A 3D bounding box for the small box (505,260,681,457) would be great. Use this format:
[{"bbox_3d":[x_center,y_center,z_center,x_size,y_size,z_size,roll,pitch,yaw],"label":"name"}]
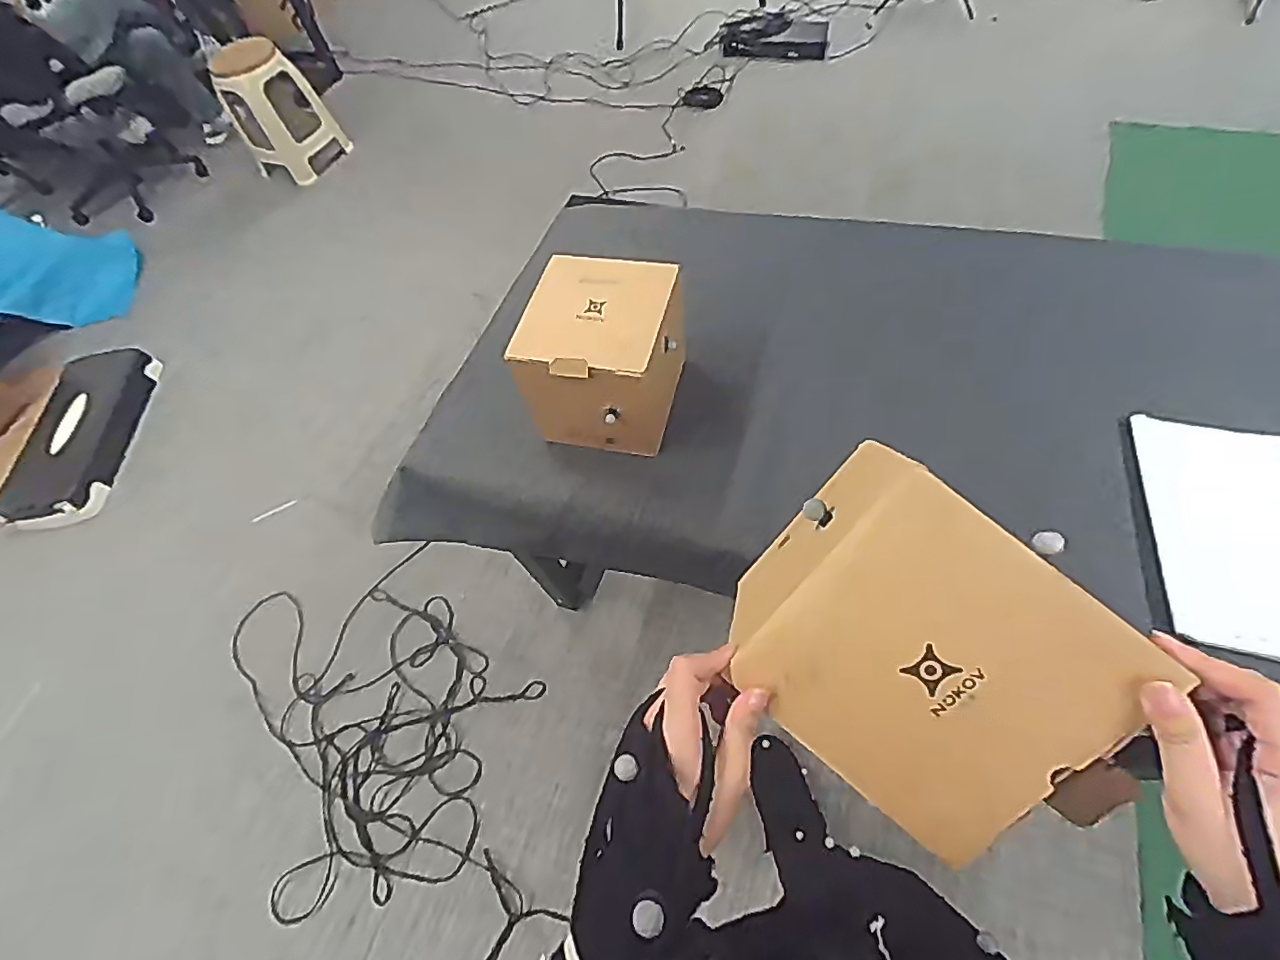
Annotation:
[{"bbox_3d":[-0.044,-0.151,0.693,0.168,0.176,0.179,10,60,12],"label":"small box"}]
